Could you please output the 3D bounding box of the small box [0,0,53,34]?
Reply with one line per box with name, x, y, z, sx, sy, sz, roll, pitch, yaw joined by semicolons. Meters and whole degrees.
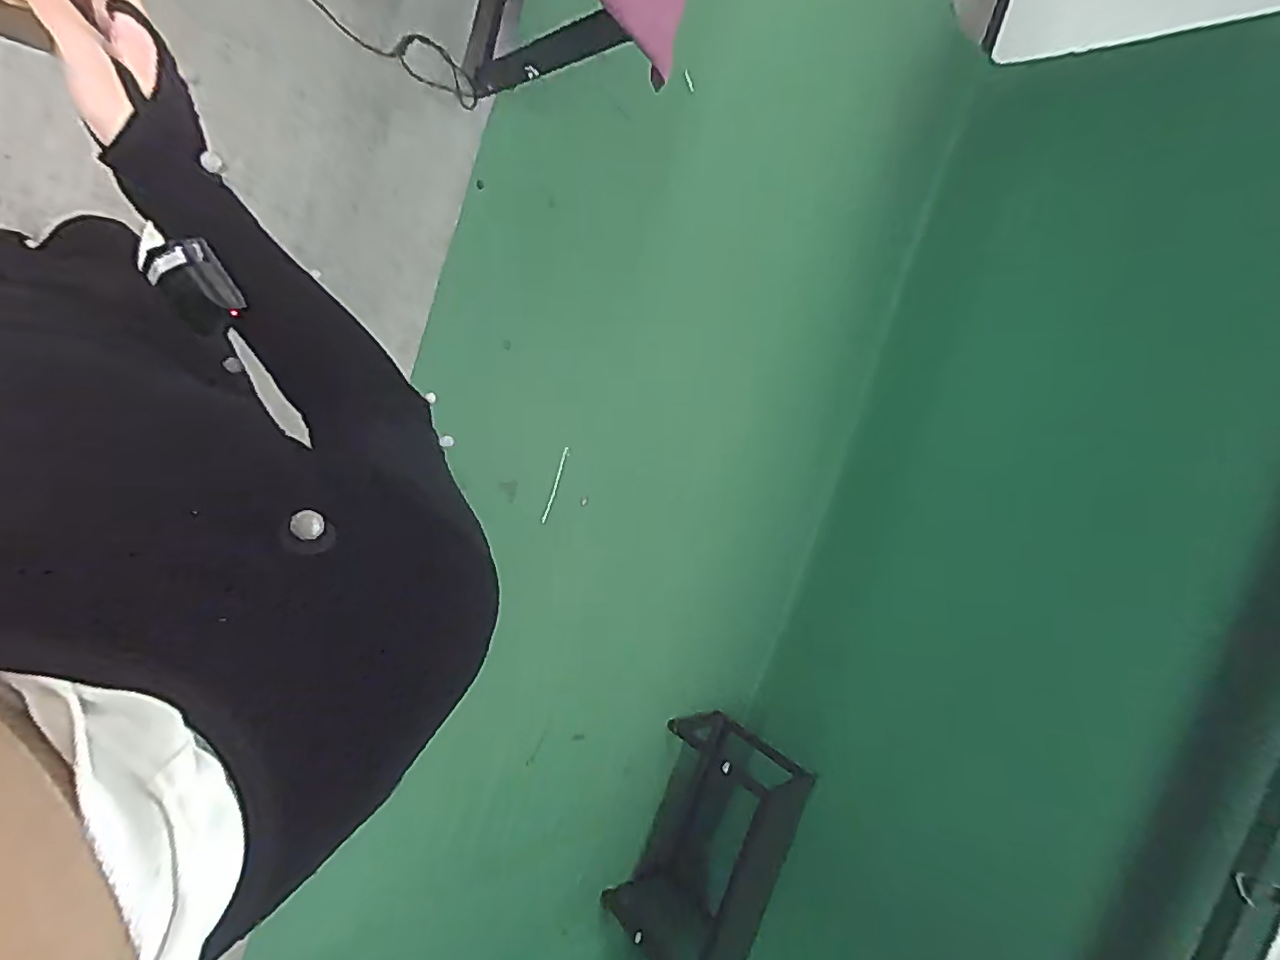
small box;-0.493;-0.426;0.336;0.168;0.176;0.179;-4;113;-46
